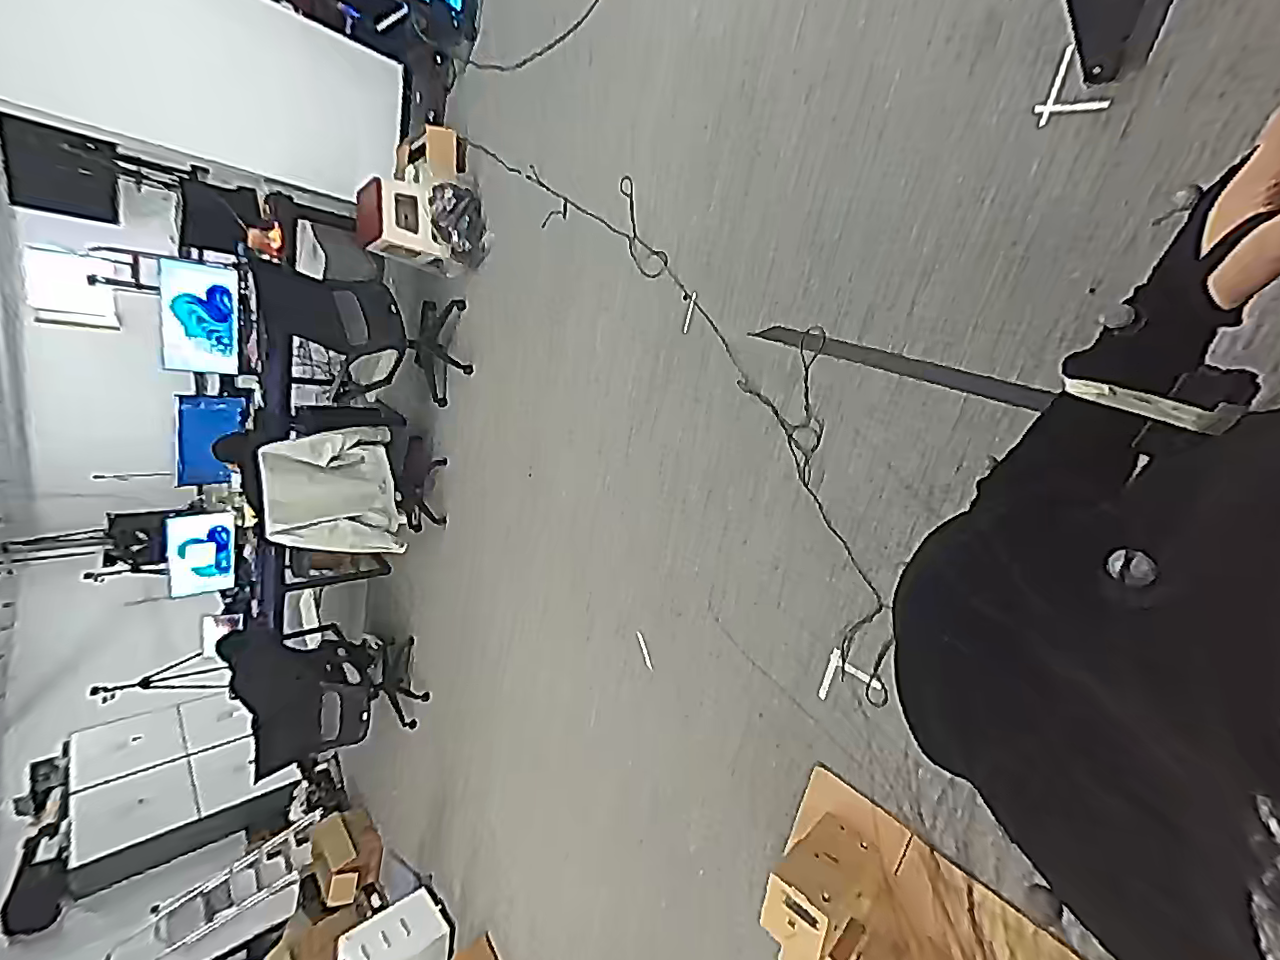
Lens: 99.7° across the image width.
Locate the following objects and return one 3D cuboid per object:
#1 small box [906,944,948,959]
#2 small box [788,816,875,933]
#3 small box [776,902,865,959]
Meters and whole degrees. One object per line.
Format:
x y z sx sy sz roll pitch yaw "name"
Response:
0.748 1.351 1.385 0.179 0.176 0.168 30 113 37 "small box"
0.554 1.123 1.557 0.168 0.176 0.179 21 108 42 "small box"
0.535 1.379 1.601 0.179 0.176 0.168 20 108 41 "small box"
